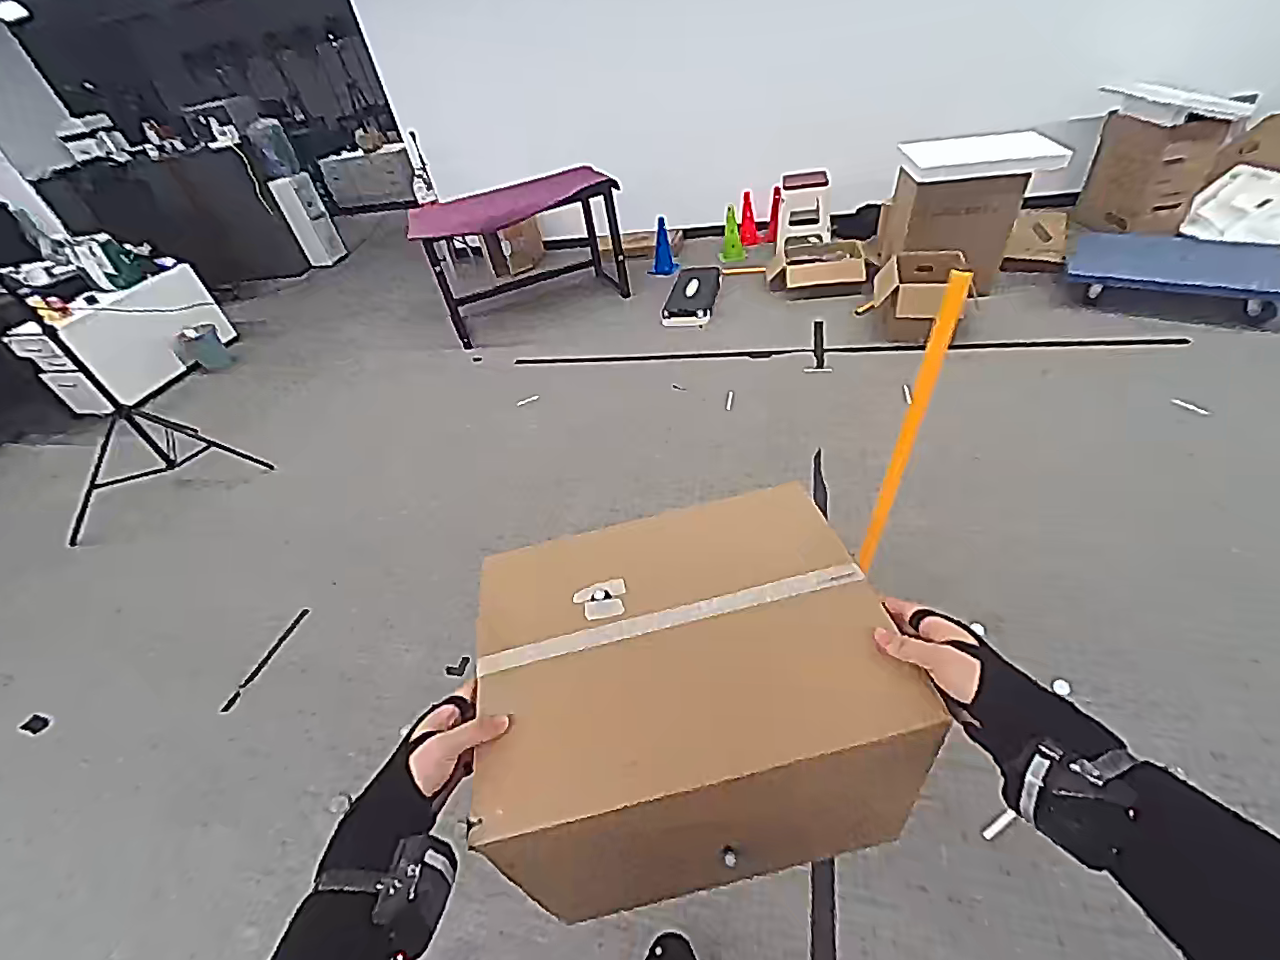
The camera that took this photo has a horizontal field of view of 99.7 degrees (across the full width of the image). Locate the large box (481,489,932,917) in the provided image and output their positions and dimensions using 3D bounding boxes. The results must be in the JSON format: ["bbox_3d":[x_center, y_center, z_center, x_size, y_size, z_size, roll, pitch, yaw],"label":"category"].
[{"bbox_3d":[0.059,0.265,0.660,0.408,0.320,0.320,-15,39,-1],"label":"large box"}]
